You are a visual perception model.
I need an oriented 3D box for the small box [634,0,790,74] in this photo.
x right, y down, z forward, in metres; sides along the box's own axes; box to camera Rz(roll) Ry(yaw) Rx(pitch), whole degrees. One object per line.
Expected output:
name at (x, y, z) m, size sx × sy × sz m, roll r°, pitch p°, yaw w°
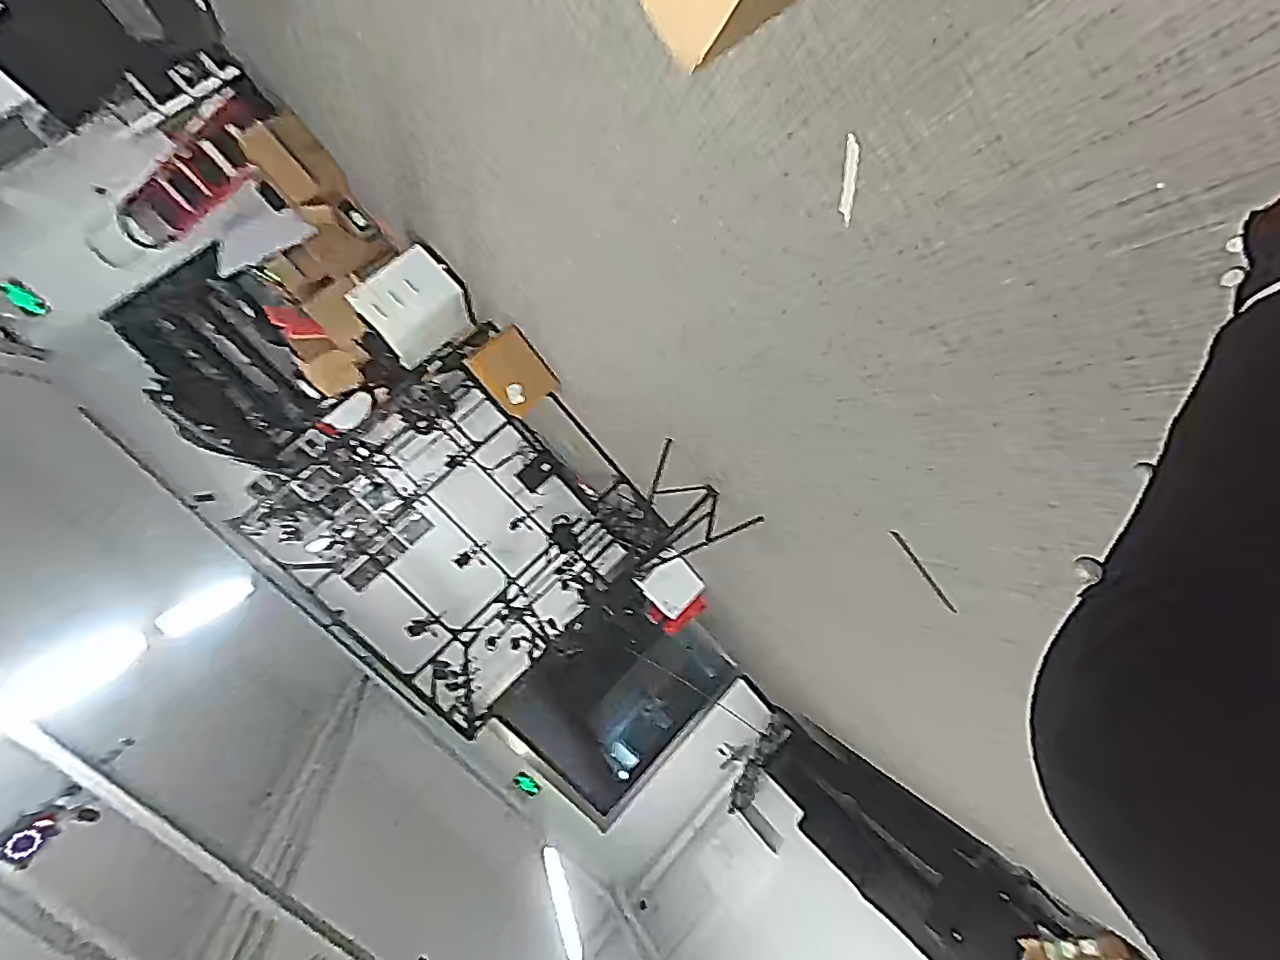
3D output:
small box at (0.054, -0.269, 0.130) m, size 0.168 × 0.176 × 0.179 m, roll 51°, pitch 169°, yaw -15°
